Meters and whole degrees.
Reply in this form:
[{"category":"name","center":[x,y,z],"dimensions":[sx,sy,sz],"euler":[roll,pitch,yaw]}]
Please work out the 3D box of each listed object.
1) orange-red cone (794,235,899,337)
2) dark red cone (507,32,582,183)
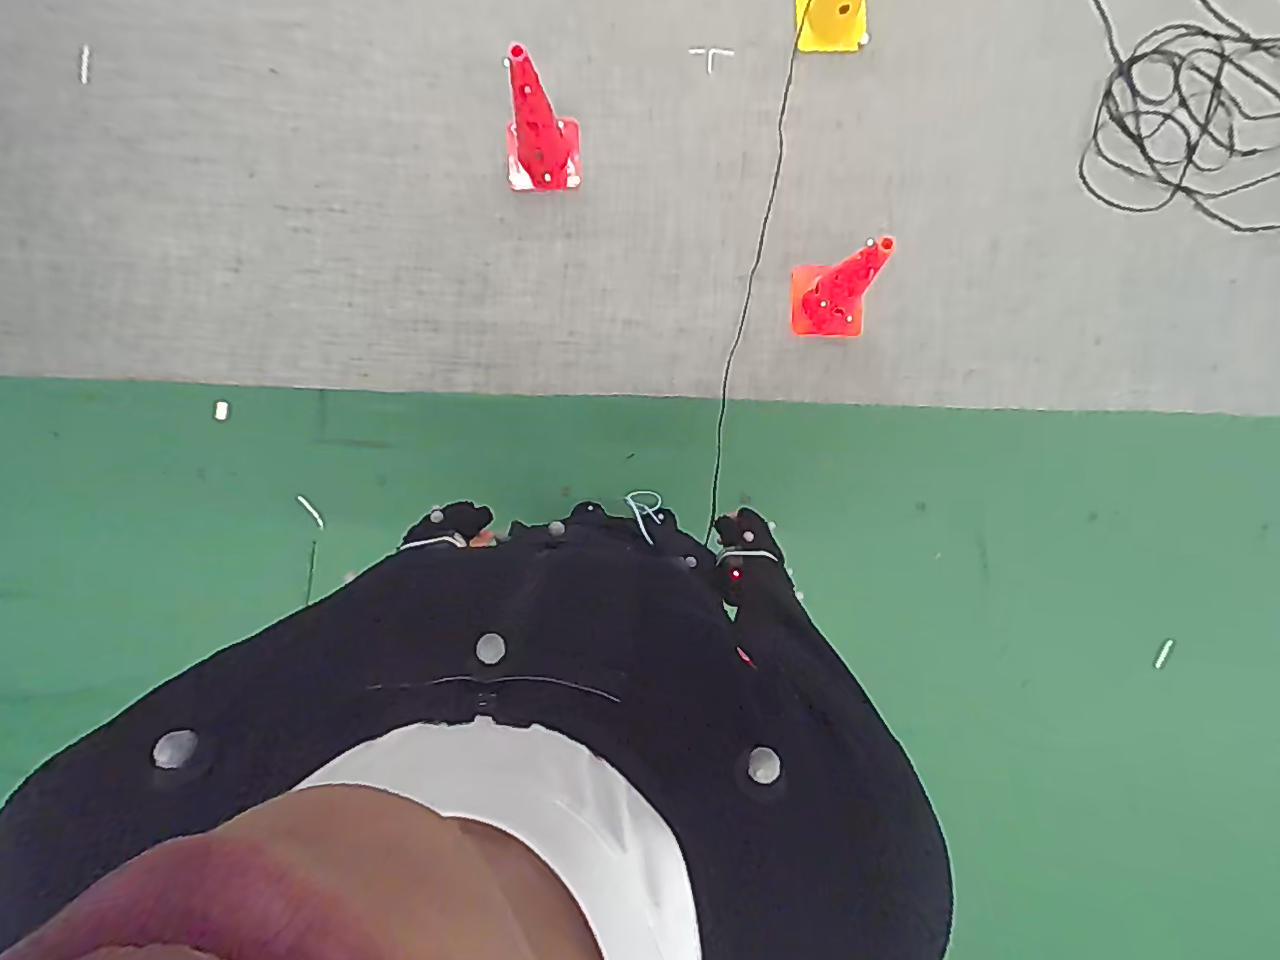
[{"category":"orange-red cone","center":[0.535,-0.509,1.345],"dimensions":[0.198,0.360,0.199],"euler":[2,88,-2]},{"category":"dark red cone","center":[-0.259,-0.917,1.319],"dimensions":[0.202,0.394,0.201],"euler":[-4,90,-1]}]
